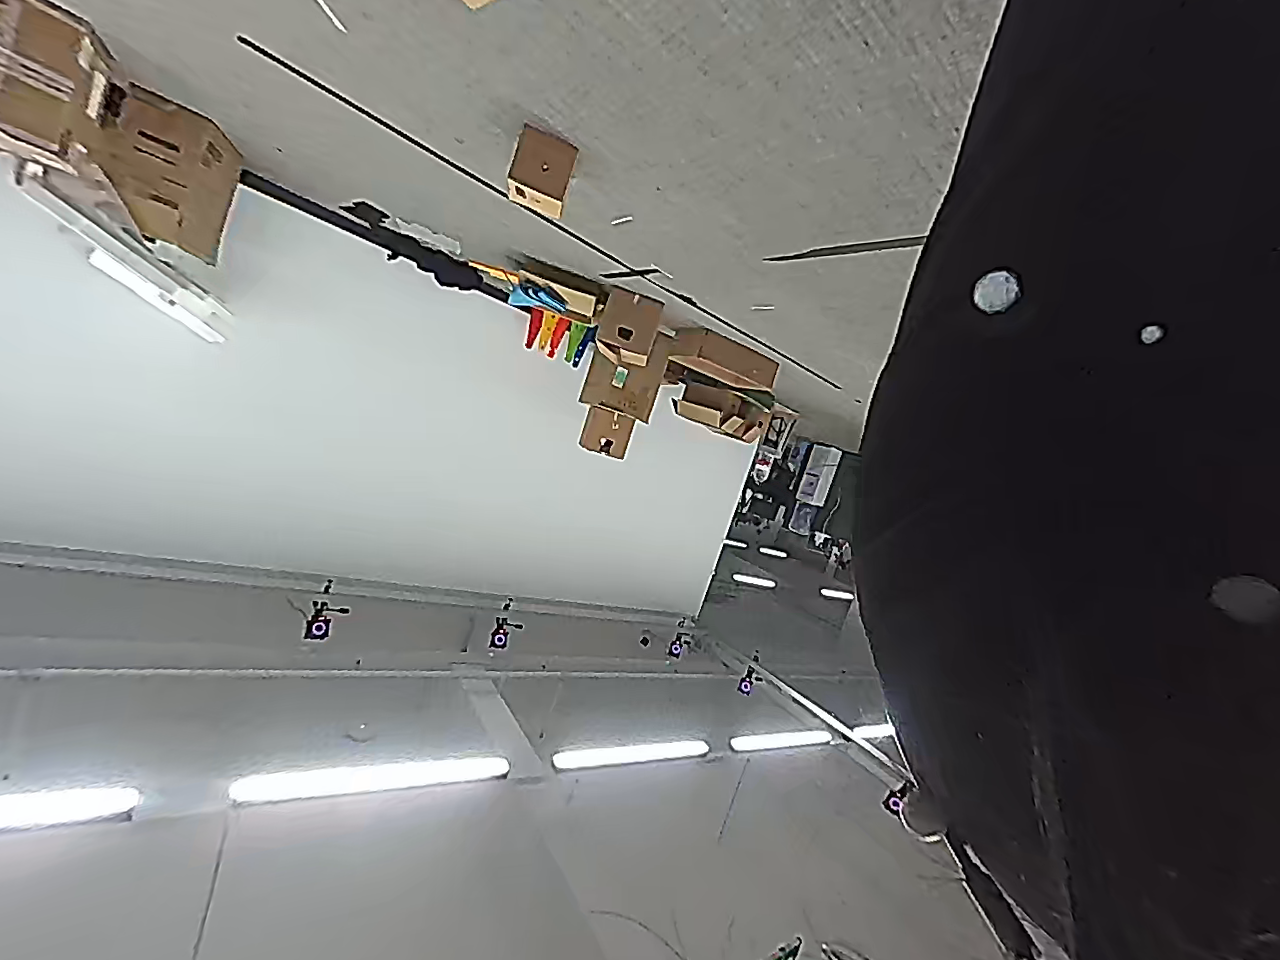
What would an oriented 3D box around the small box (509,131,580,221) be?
[{"bbox_3d":[-0.303,-0.957,1.703,0.179,0.176,0.168,17,-176,-14],"label":"small box"}]
